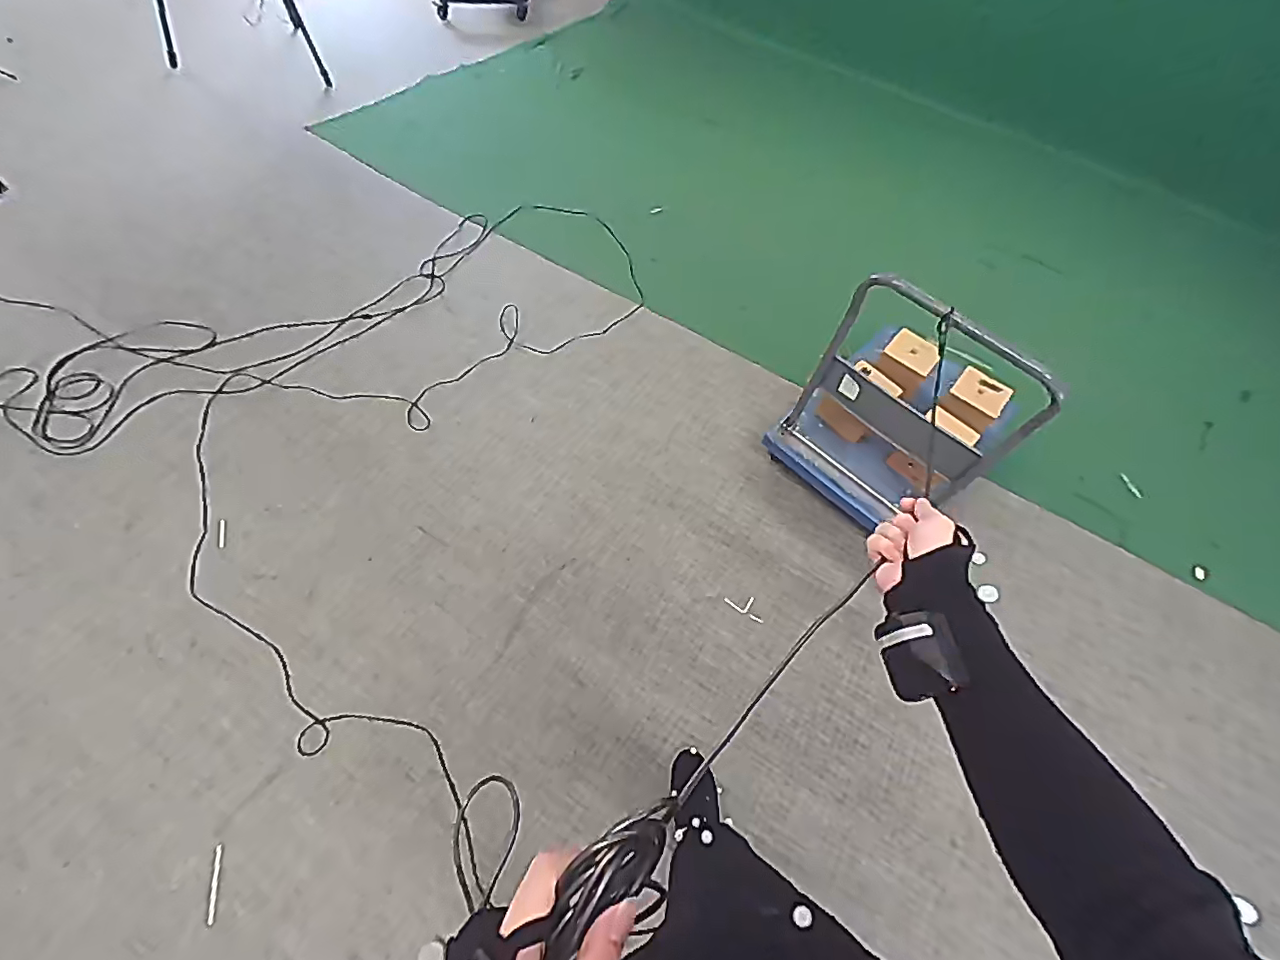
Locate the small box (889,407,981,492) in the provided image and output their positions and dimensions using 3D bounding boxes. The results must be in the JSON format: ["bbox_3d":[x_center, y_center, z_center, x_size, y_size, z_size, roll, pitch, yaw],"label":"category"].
[{"bbox_3d":[0.941,-0.095,1.740,0.179,0.176,0.168,-38,69,-26],"label":"small box"}]

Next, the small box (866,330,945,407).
[{"bbox_3d":[0.939,-0.396,1.933,0.168,0.176,0.179,39,61,16],"label":"small box"}]

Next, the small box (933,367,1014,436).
[{"bbox_3d":[1.130,-0.247,1.860,0.168,0.176,0.179,38,61,18],"label":"small box"}]
